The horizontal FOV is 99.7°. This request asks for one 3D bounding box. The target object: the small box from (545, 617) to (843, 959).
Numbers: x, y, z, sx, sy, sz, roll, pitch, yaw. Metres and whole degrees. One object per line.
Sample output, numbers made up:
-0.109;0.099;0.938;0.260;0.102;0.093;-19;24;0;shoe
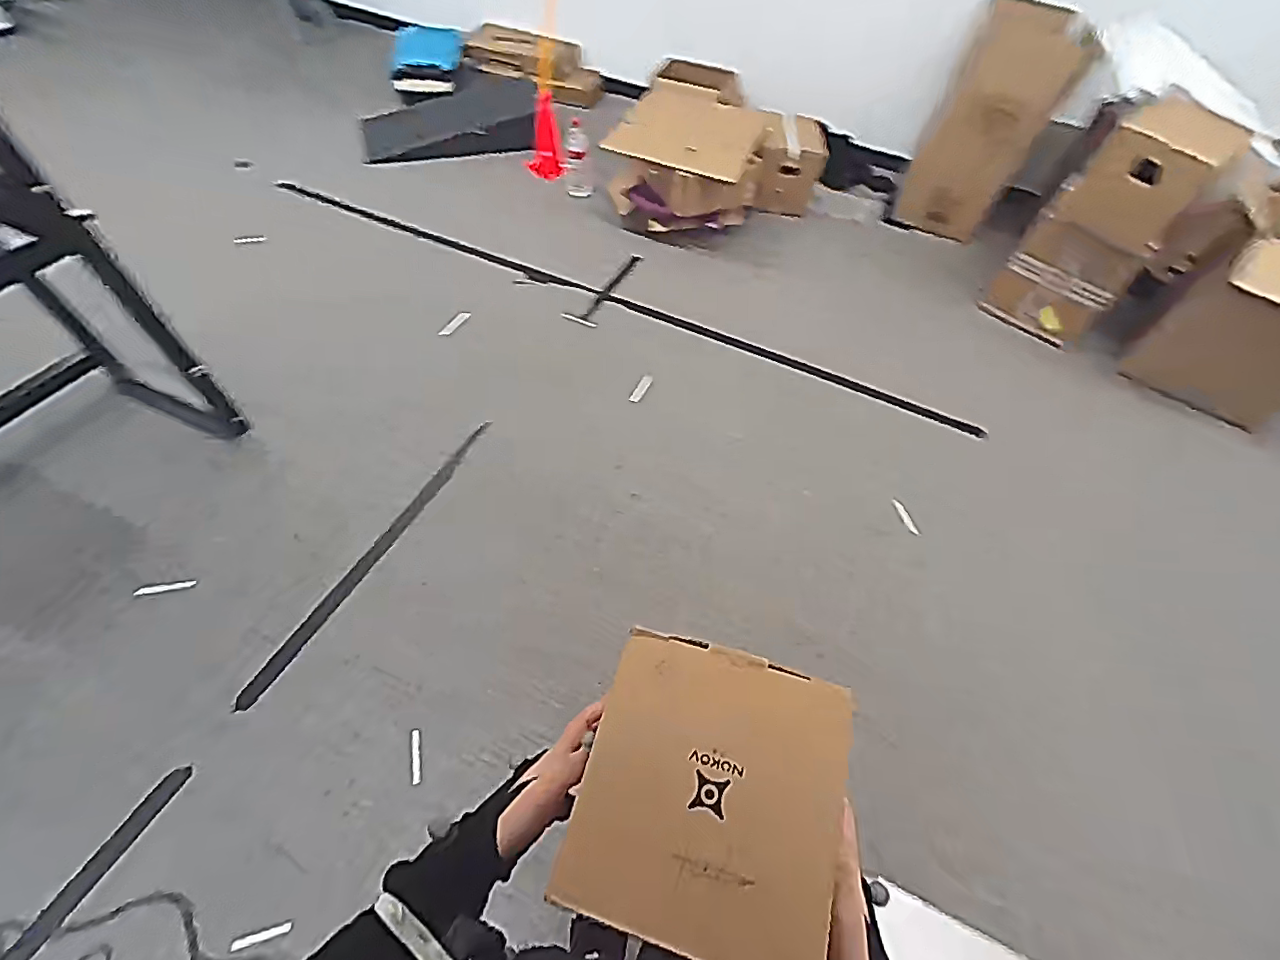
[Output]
0.044;0.232;0.423;0.168;0.176;0.179;13;63;10;small box
